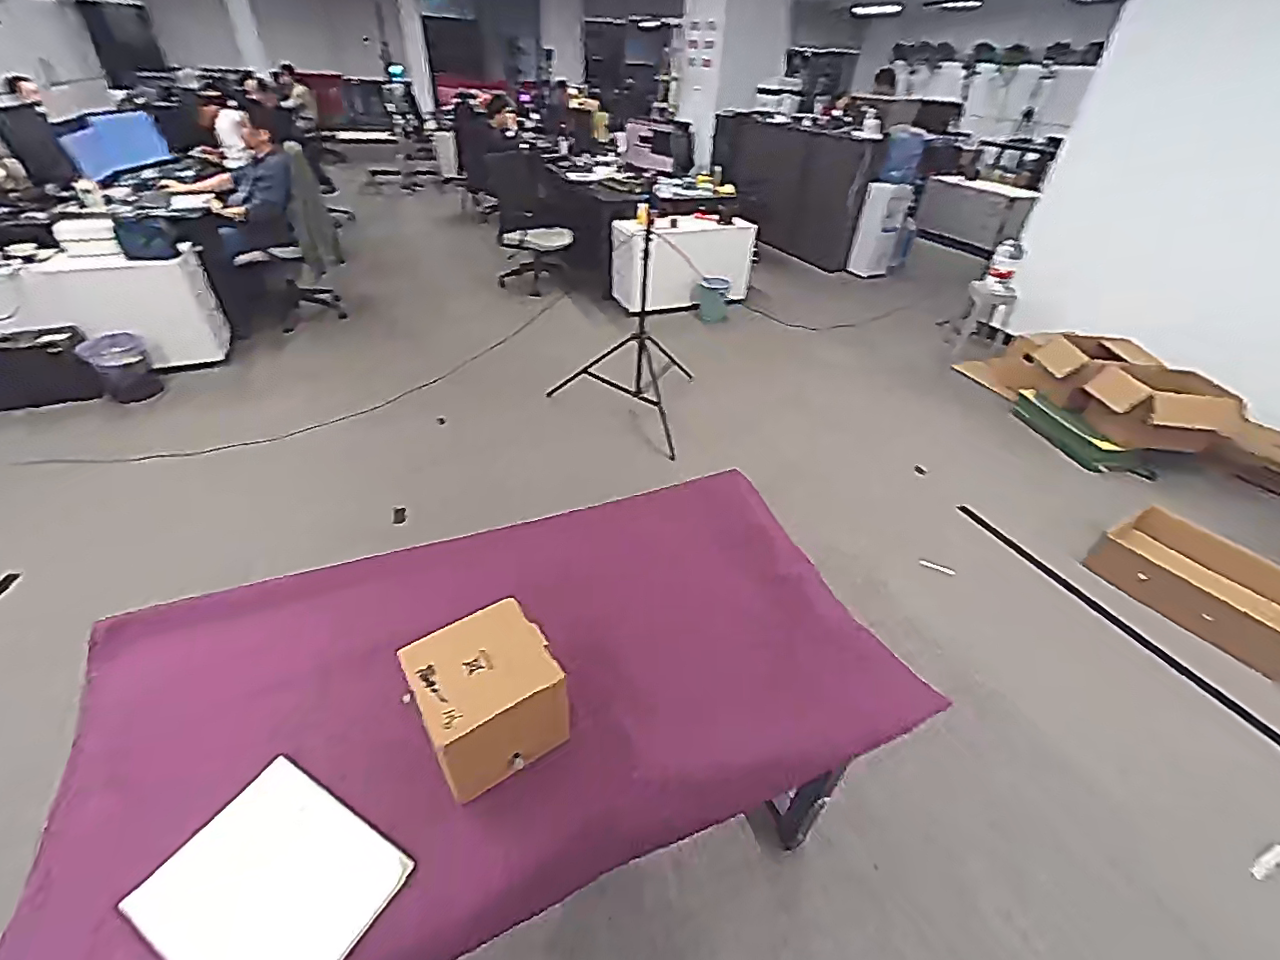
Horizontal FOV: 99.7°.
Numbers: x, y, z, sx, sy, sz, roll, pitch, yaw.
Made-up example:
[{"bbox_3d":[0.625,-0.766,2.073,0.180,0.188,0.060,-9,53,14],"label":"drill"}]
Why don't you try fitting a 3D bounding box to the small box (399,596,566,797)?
[{"bbox_3d":[-0.221,0.308,0.781,0.179,0.176,0.168,-21,43,-29],"label":"small box"}]
